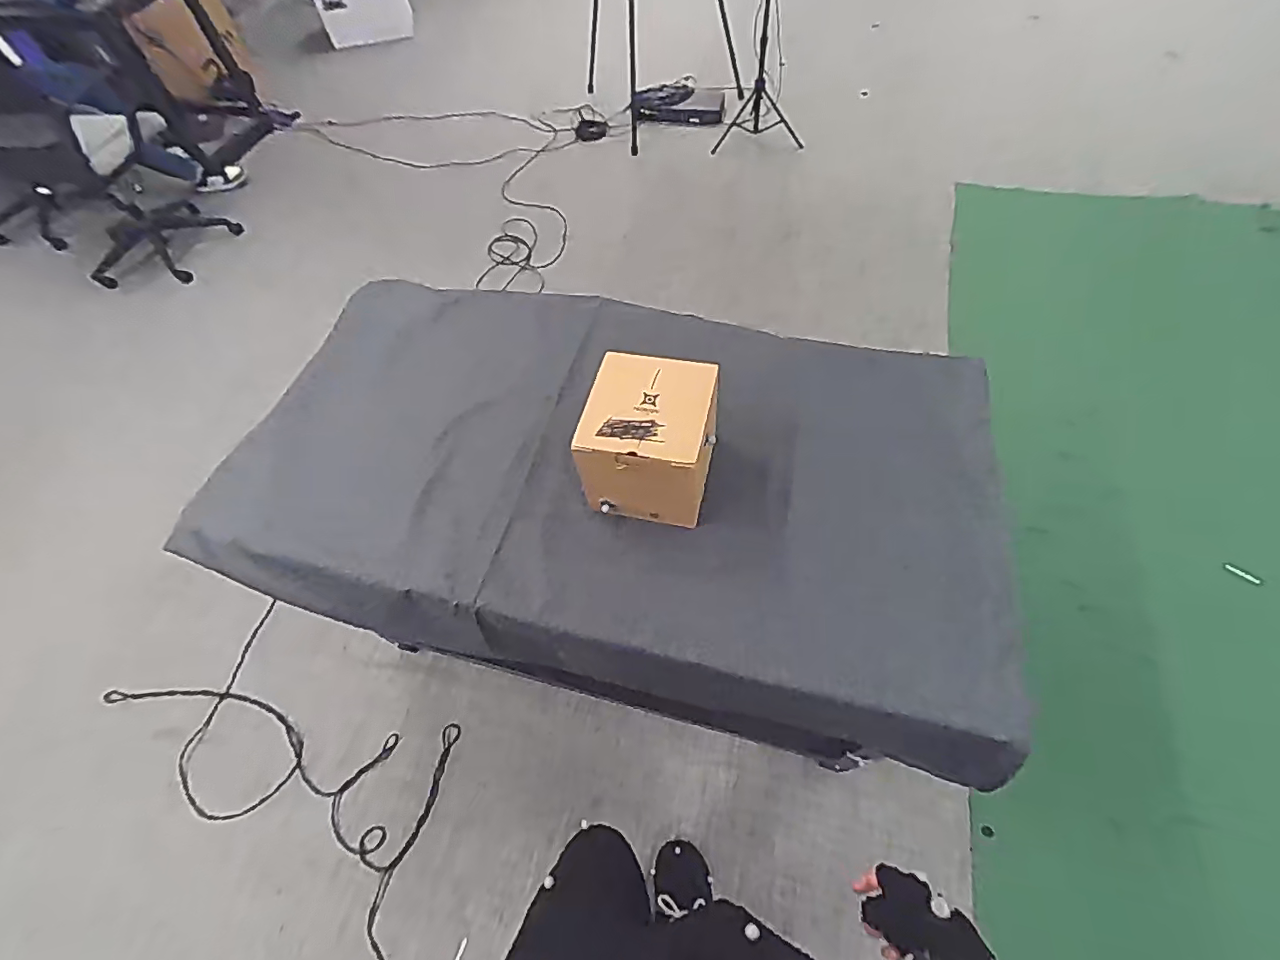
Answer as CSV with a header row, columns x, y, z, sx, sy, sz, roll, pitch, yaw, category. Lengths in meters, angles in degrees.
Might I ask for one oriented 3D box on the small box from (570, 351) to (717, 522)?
x,y,z,sx,sy,sz,roll,pitch,yaw,category
0.015,-0.059,0.785,0.168,0.176,0.179,9,58,11,small box
